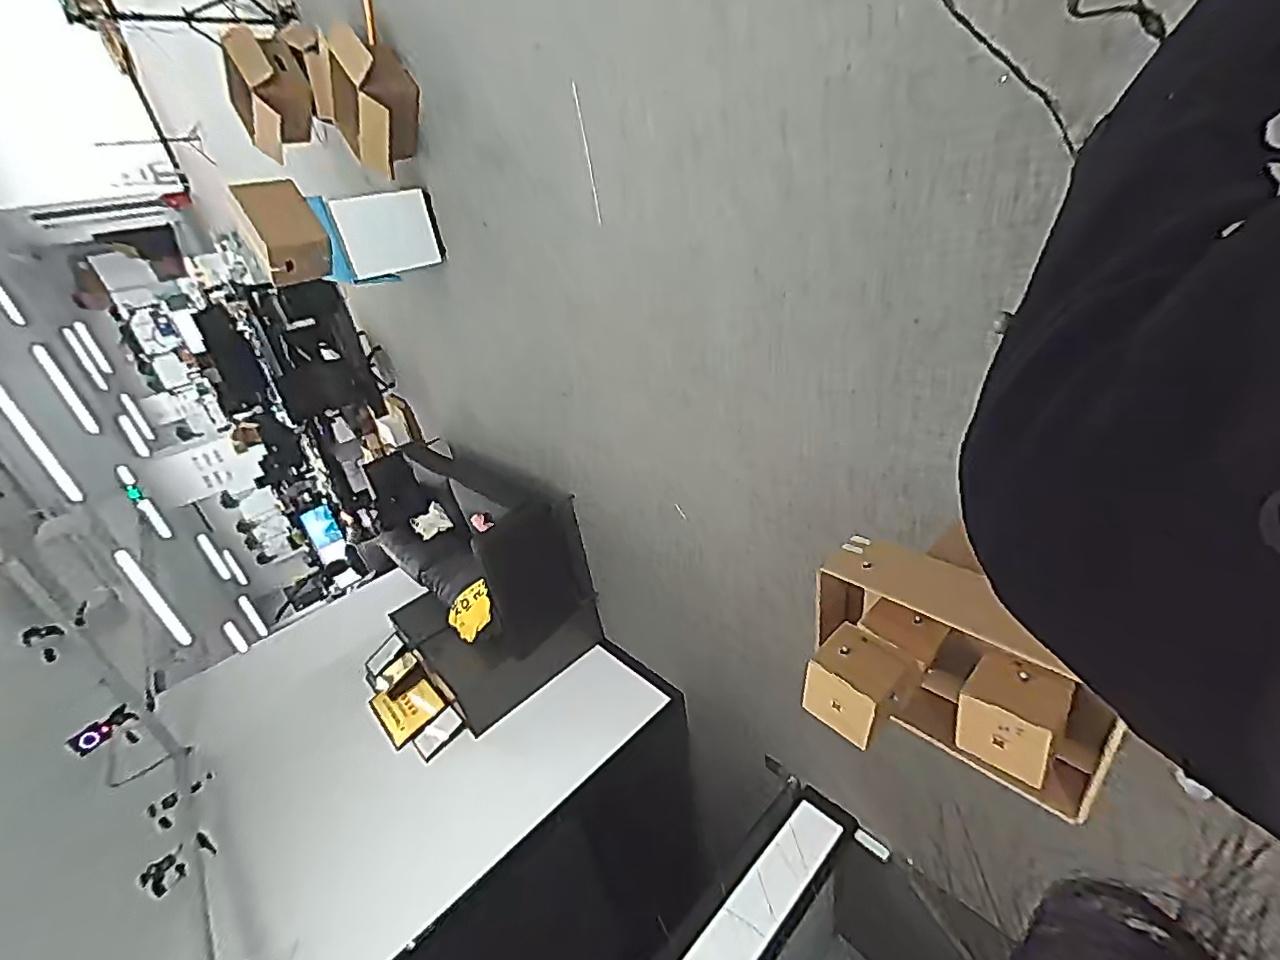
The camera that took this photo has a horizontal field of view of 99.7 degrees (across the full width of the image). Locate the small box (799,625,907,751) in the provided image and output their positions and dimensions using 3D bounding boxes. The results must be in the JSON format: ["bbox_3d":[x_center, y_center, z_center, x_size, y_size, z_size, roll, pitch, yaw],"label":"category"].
[{"bbox_3d":[0.496,0.476,1.261,0.168,0.176,0.179,29,135,41],"label":"small box"}]

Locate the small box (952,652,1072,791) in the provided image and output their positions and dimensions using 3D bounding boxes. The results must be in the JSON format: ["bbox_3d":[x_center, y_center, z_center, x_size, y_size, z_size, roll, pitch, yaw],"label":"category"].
[{"bbox_3d":[0.803,0.513,1.171,0.168,0.176,0.179,19,128,46],"label":"small box"}]
